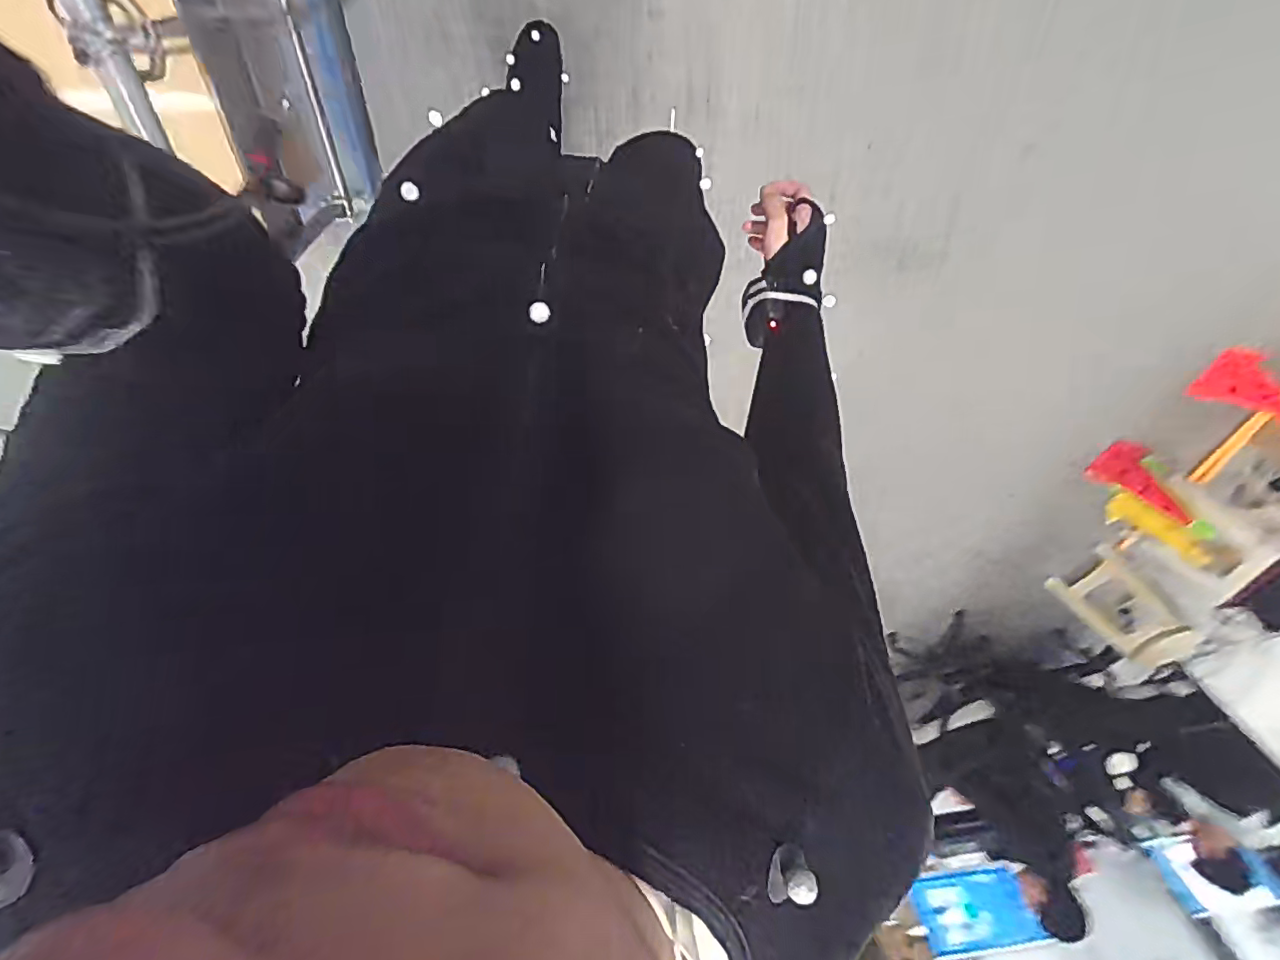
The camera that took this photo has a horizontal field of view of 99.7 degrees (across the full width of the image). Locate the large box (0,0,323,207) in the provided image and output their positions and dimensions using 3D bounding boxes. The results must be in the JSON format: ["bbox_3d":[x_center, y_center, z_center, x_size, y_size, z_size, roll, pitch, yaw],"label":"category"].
[{"bbox_3d":[-0.812,-0.649,0.865,0.408,0.320,0.320,-2,130,-7],"label":"large box"}]
